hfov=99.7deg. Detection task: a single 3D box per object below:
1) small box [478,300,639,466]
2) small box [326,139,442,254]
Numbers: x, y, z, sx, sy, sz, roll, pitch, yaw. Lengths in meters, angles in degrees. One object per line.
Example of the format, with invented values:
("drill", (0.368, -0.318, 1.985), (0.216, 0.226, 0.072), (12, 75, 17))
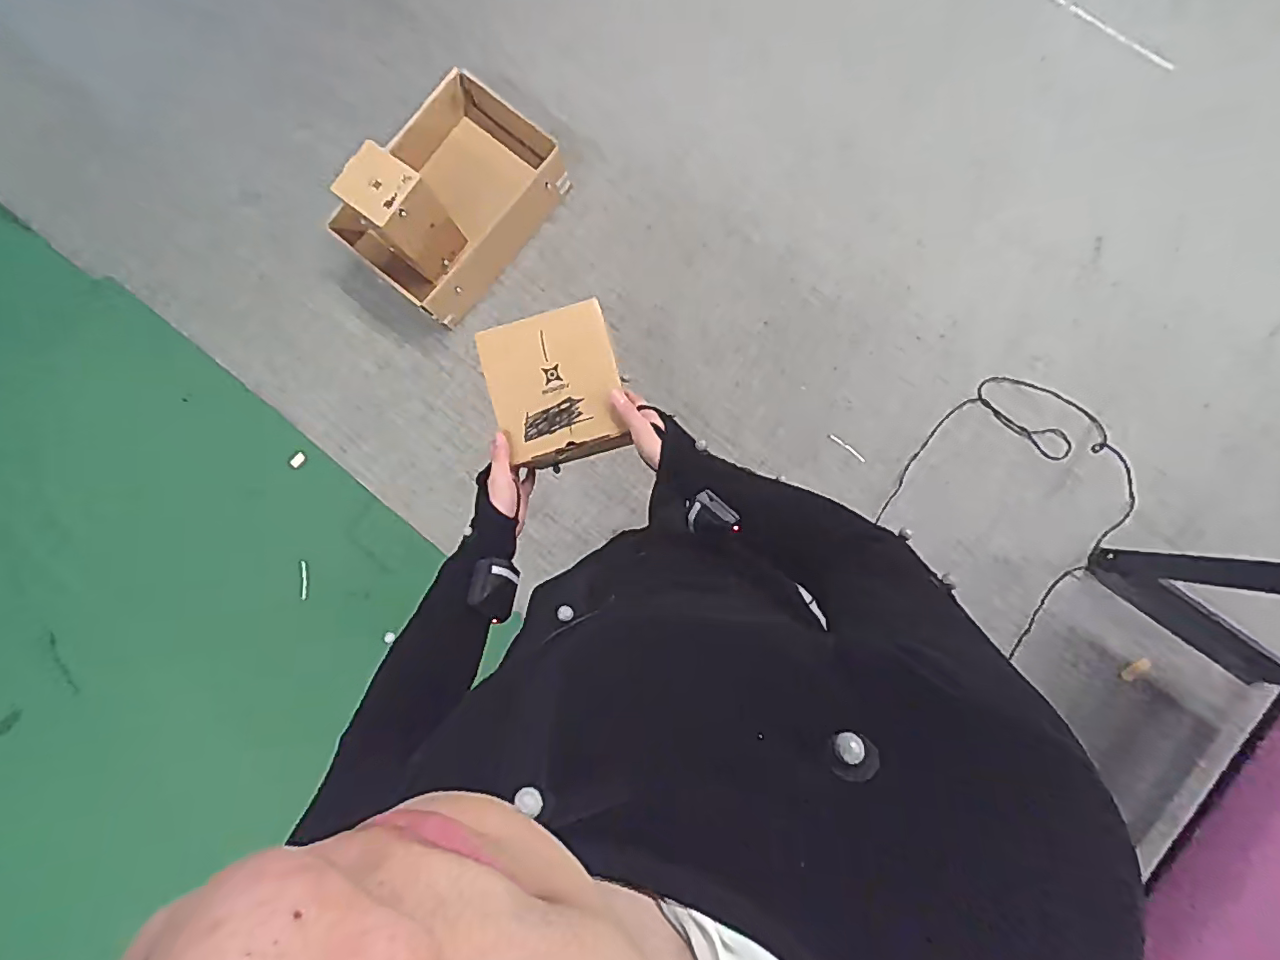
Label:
("small box", (-0.102, -0.122, 0.758), (0.168, 0.176, 0.179), (-16, 88, 2))
("small box", (-0.661, -0.731, 1.417), (0.179, 0.176, 0.168), (36, 90, 4))
